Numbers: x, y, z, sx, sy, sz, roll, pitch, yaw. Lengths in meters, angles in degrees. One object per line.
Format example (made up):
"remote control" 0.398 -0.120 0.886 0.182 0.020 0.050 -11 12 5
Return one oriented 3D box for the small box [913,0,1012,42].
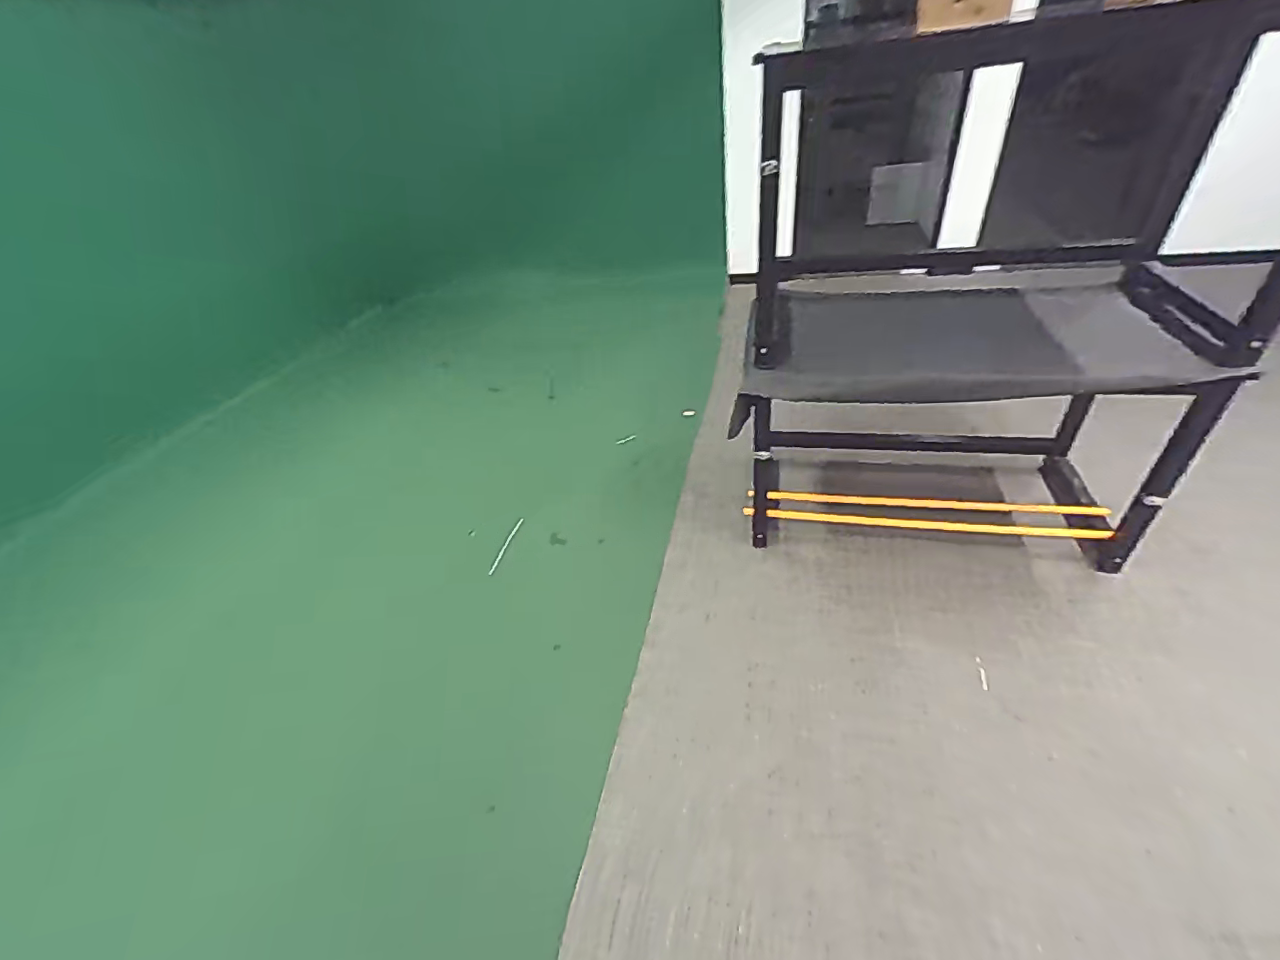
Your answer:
"small box" 0.660 -1.004 1.095 0.168 0.176 0.179 8 41 20
